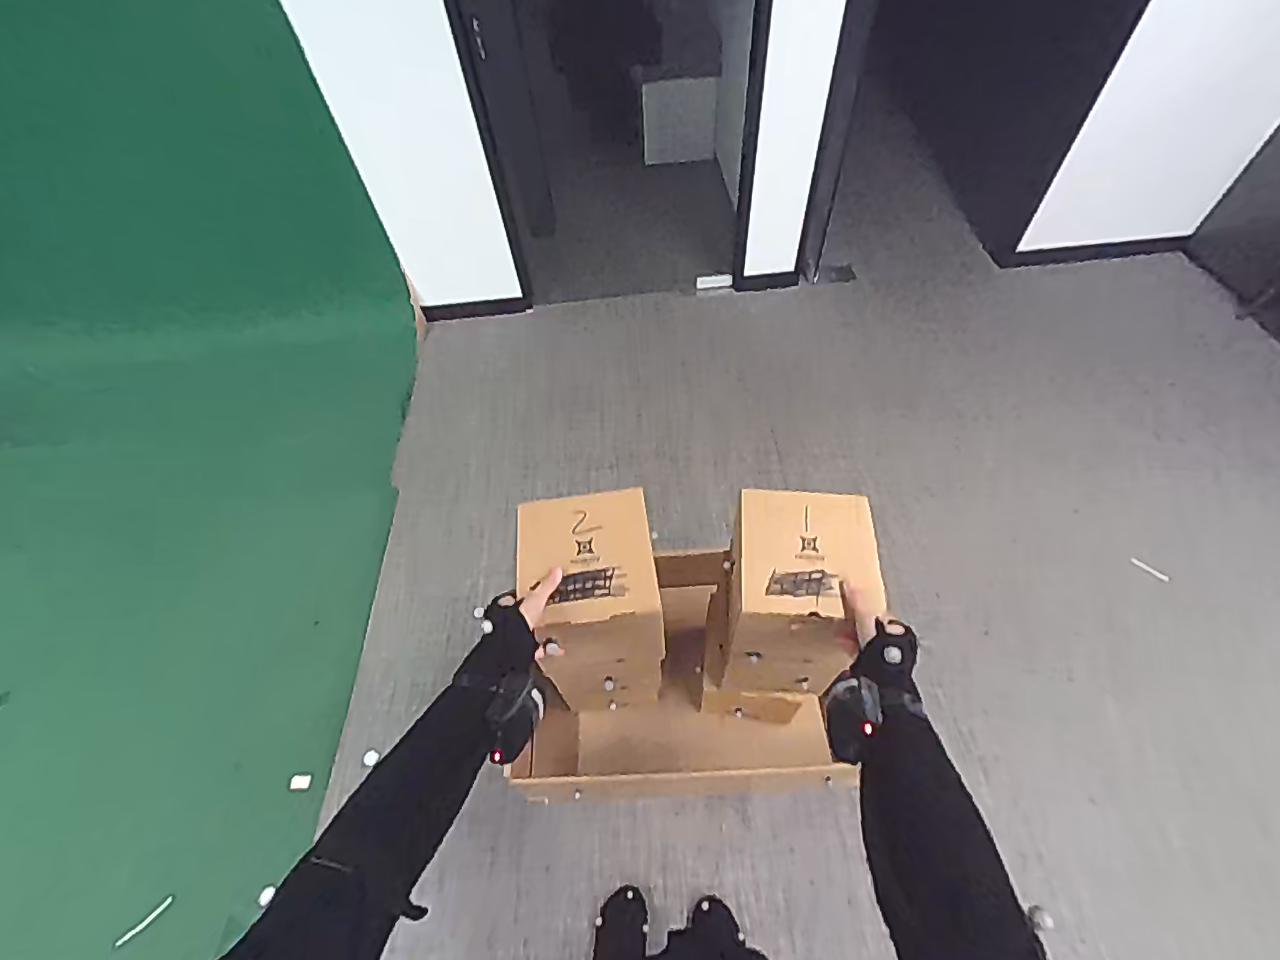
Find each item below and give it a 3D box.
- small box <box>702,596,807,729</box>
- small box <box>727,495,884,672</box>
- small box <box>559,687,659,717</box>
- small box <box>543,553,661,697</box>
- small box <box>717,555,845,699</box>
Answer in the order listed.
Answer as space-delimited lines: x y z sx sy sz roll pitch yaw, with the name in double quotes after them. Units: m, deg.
0.202 0.333 0.981 0.168 0.176 0.179 5 55 8 "small box"
0.205 0.140 0.716 0.168 0.176 0.179 3 54 6 "small box"
-0.056 0.323 1.006 0.168 0.176 0.179 -7 54 0 "small box"
-0.056 0.238 0.865 0.168 0.176 0.179 -6 55 -1 "small box"
0.210 0.235 0.850 0.168 0.176 0.179 1 54 4 "small box"
